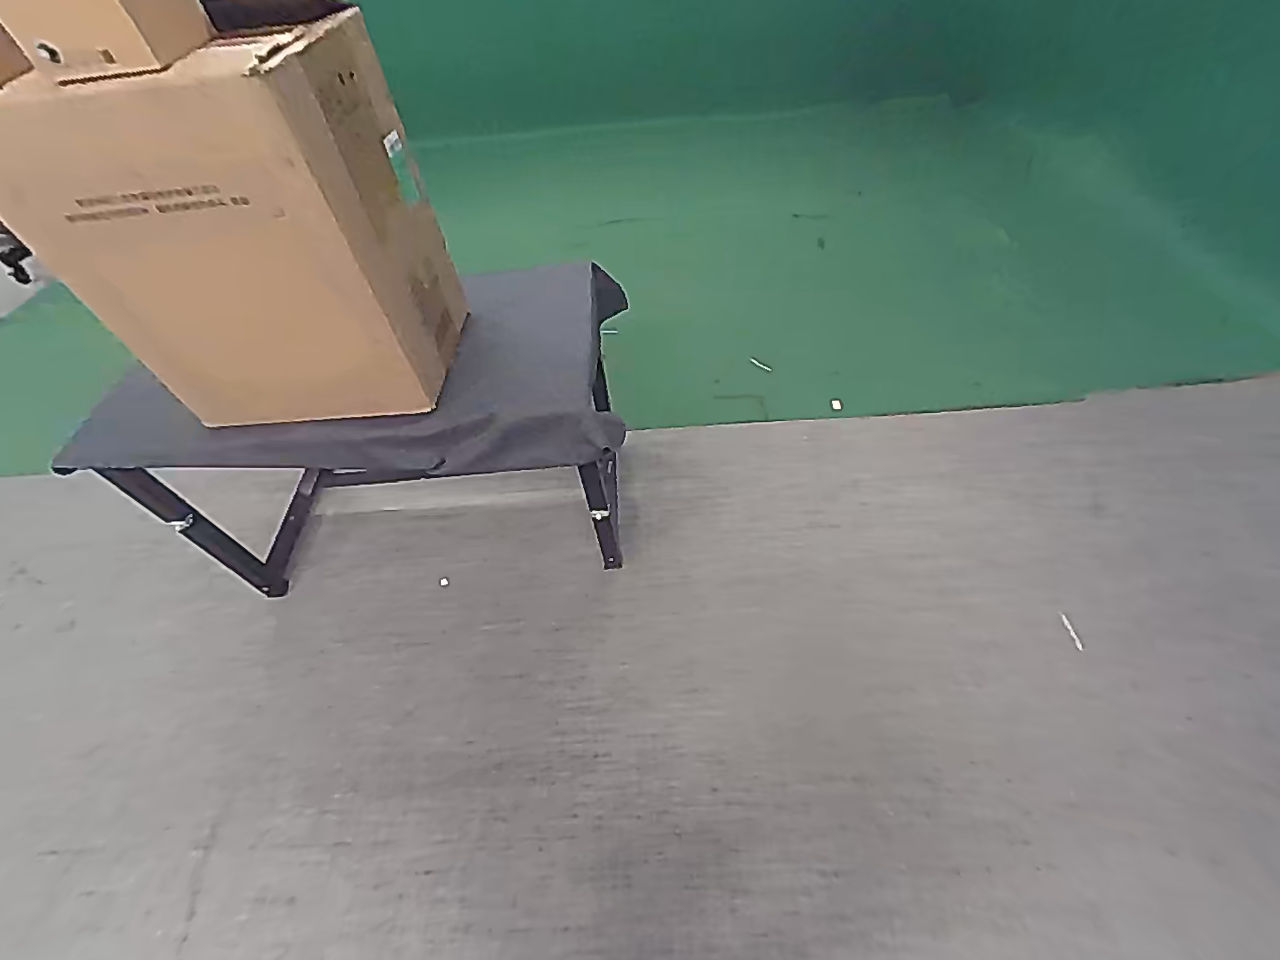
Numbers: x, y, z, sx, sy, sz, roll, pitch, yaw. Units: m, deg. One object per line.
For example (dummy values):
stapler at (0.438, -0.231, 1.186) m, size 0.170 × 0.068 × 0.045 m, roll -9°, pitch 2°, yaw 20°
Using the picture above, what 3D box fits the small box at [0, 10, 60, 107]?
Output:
small box at (-0.975, -0.640, 0.756) m, size 0.168 × 0.176 × 0.179 m, roll -7°, pitch 52°, yaw 5°

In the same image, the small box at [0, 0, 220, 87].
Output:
small box at (-0.729, -0.657, 0.733) m, size 0.168 × 0.176 × 0.179 m, roll -5°, pitch 51°, yaw 2°
